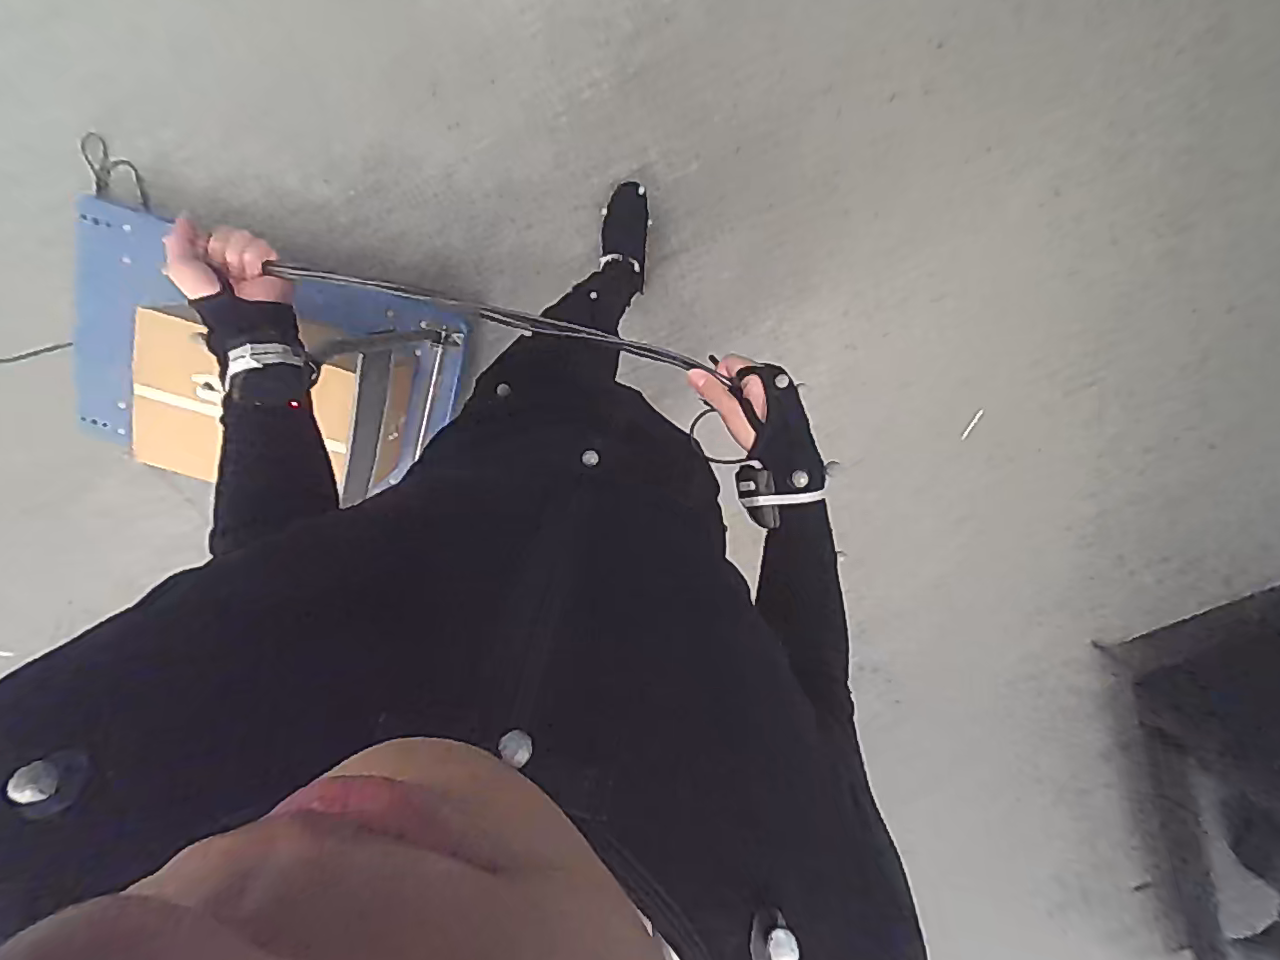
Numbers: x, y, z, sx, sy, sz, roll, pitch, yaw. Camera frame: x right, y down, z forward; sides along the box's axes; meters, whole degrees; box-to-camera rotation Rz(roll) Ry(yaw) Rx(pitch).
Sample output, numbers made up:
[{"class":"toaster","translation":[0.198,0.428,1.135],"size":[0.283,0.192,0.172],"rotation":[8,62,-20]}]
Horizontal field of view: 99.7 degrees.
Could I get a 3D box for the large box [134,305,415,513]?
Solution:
[{"class":"large box","translation":[-0.767,-0.169,1.189],"size":[0.408,0.320,0.320],"rotation":[17,107,-7]}]
